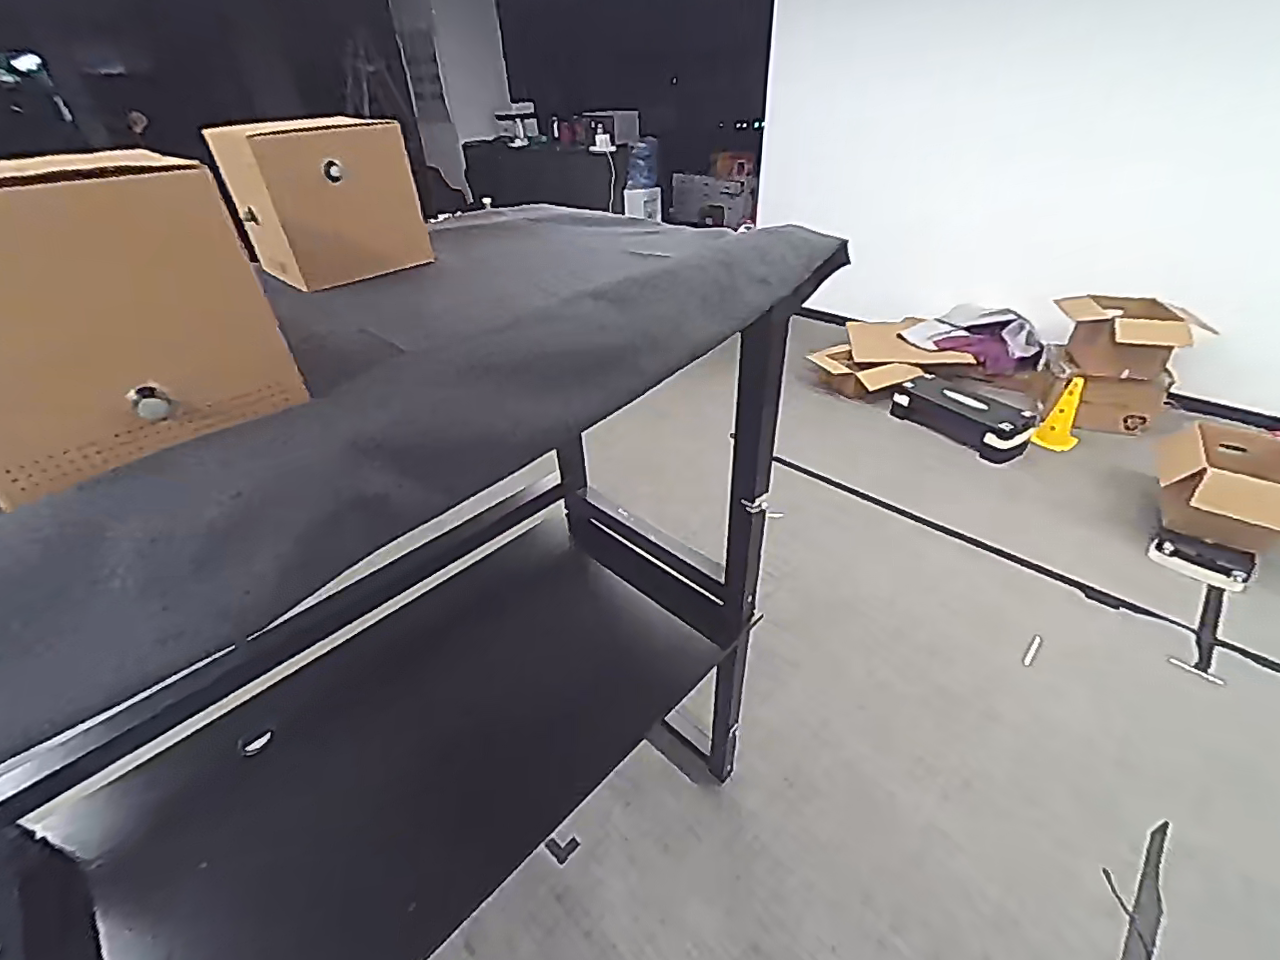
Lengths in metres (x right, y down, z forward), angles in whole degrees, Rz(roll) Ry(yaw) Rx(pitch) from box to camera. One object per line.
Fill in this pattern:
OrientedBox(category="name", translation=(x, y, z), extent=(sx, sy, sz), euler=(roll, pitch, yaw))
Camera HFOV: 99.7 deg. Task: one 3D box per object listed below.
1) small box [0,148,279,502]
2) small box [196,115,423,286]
OrientedBox(category="small box", translation=(-0.377, -0.115, 0.360), extent=(0.168, 0.176, 0.179), euler=(26, 45, 36))
OrientedBox(category="small box", translation=(-0.415, -0.363, 0.699), extent=(0.168, 0.176, 0.179), euler=(29, 47, 34))
